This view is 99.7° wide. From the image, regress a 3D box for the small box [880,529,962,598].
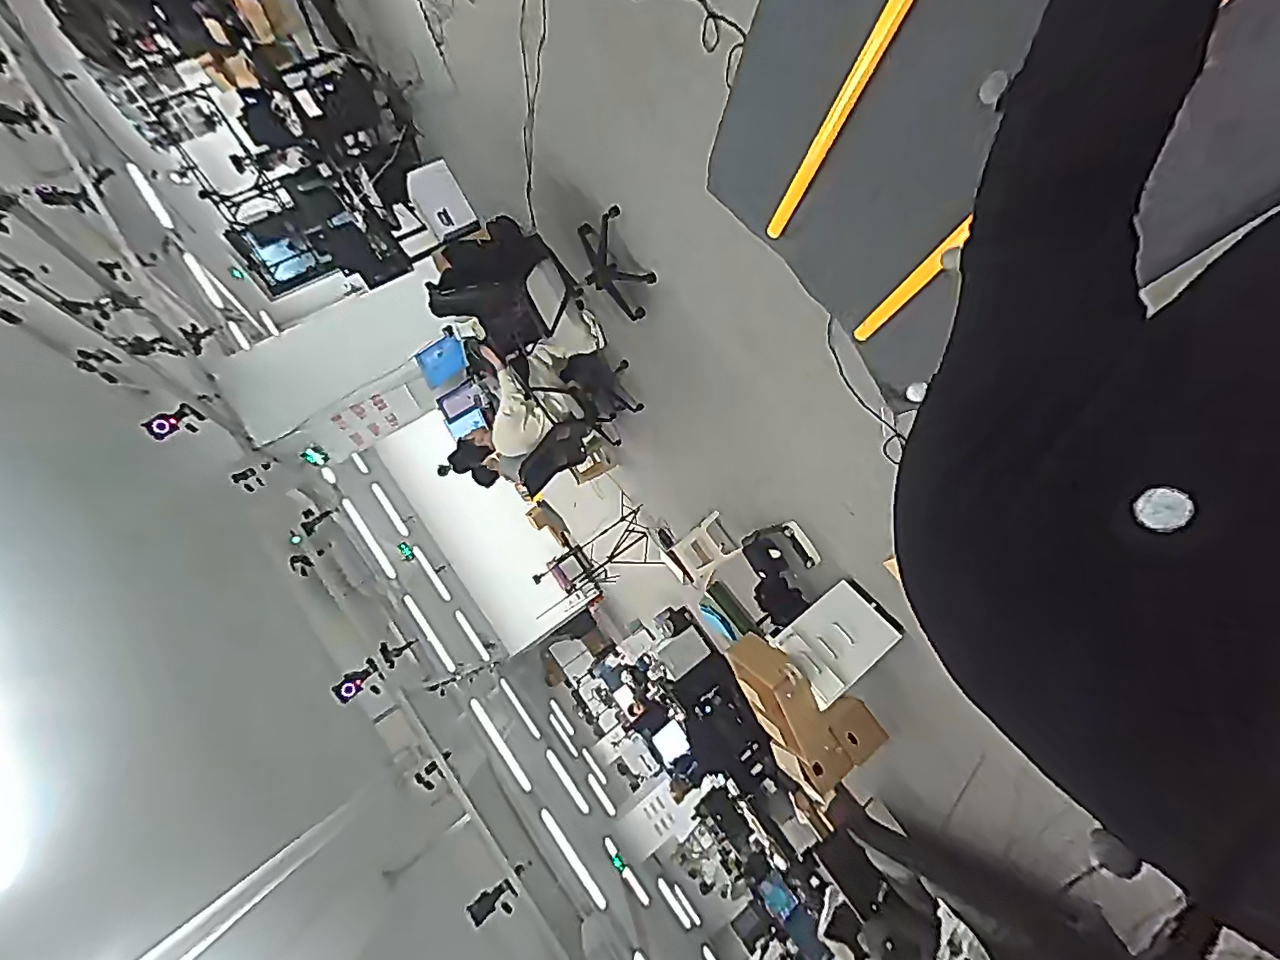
[{"bbox_3d":[1.022,0.301,1.958,0.168,0.176,0.179,52,163,12],"label":"small box"}]
